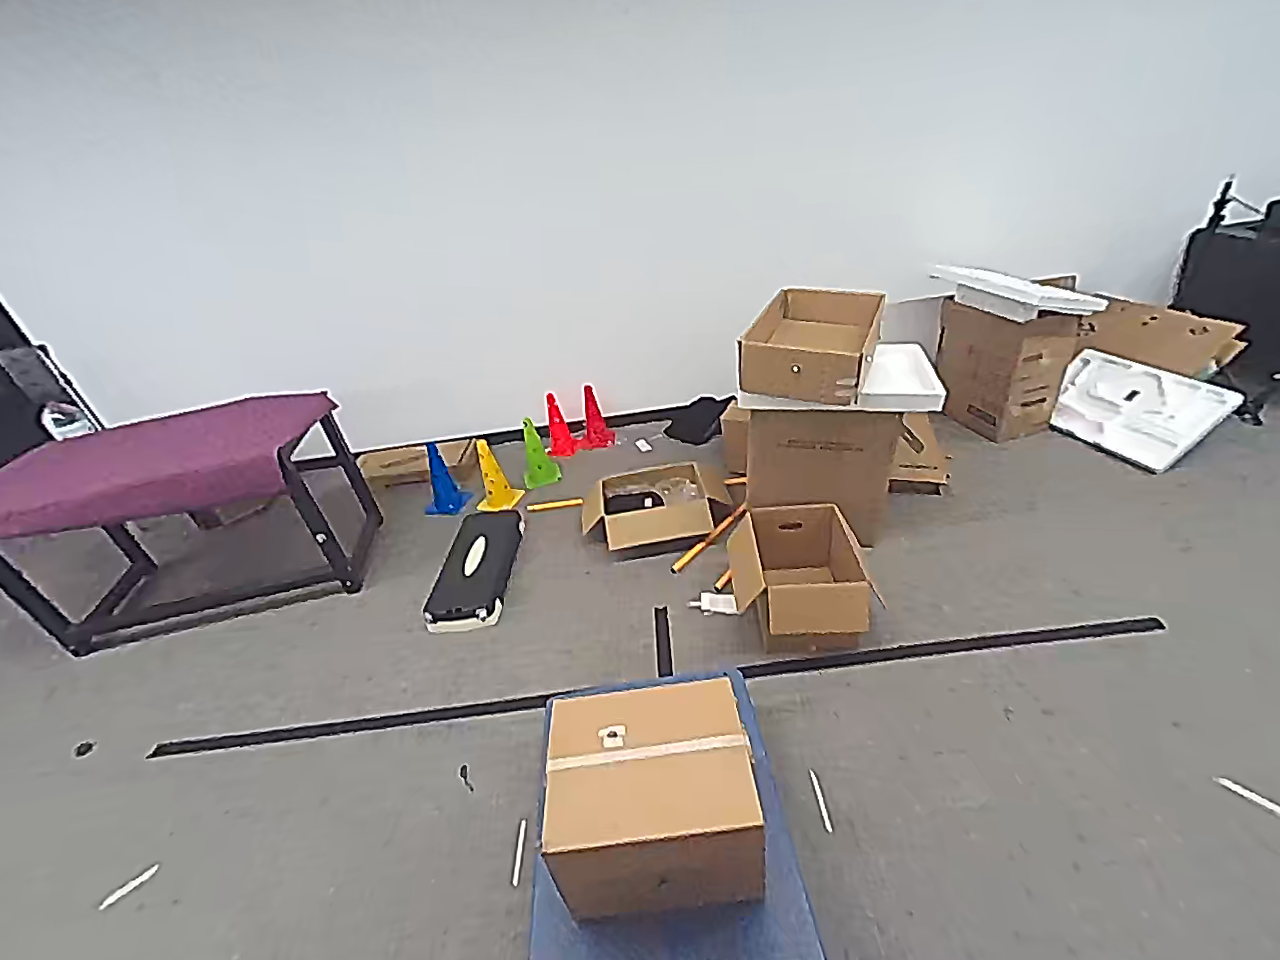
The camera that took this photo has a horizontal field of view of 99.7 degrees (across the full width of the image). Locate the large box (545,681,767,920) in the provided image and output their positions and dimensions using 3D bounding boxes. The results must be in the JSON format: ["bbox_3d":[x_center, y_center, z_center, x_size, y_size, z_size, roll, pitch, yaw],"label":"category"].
[{"bbox_3d":[0.036,0.689,1.173,0.408,0.320,0.320,-9,31,1],"label":"large box"}]
